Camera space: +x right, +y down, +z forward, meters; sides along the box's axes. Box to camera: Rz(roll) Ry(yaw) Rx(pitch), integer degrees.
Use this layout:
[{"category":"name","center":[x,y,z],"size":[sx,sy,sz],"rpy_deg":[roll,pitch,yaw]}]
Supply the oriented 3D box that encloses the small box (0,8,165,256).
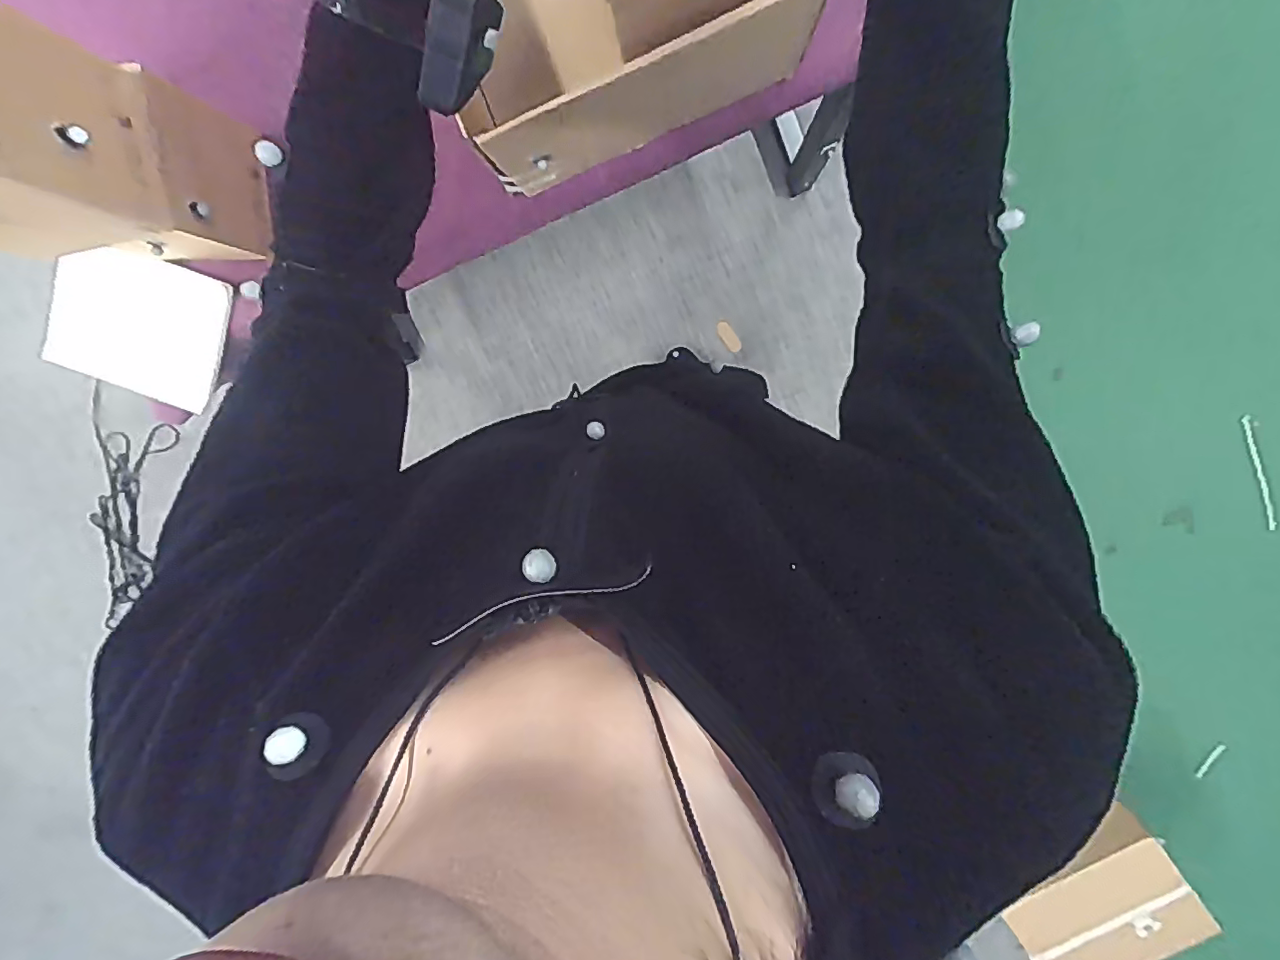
[{"category":"small box","center":[-0.614,-0.330,0.521],"size":[0.179,0.176,0.168],"rpy_deg":[-8,99,7]}]

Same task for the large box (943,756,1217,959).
[{"category":"large box","center":[1.124,1.038,1.436],"size":[0.408,0.320,0.320],"rpy_deg":[-36,95,8]}]
